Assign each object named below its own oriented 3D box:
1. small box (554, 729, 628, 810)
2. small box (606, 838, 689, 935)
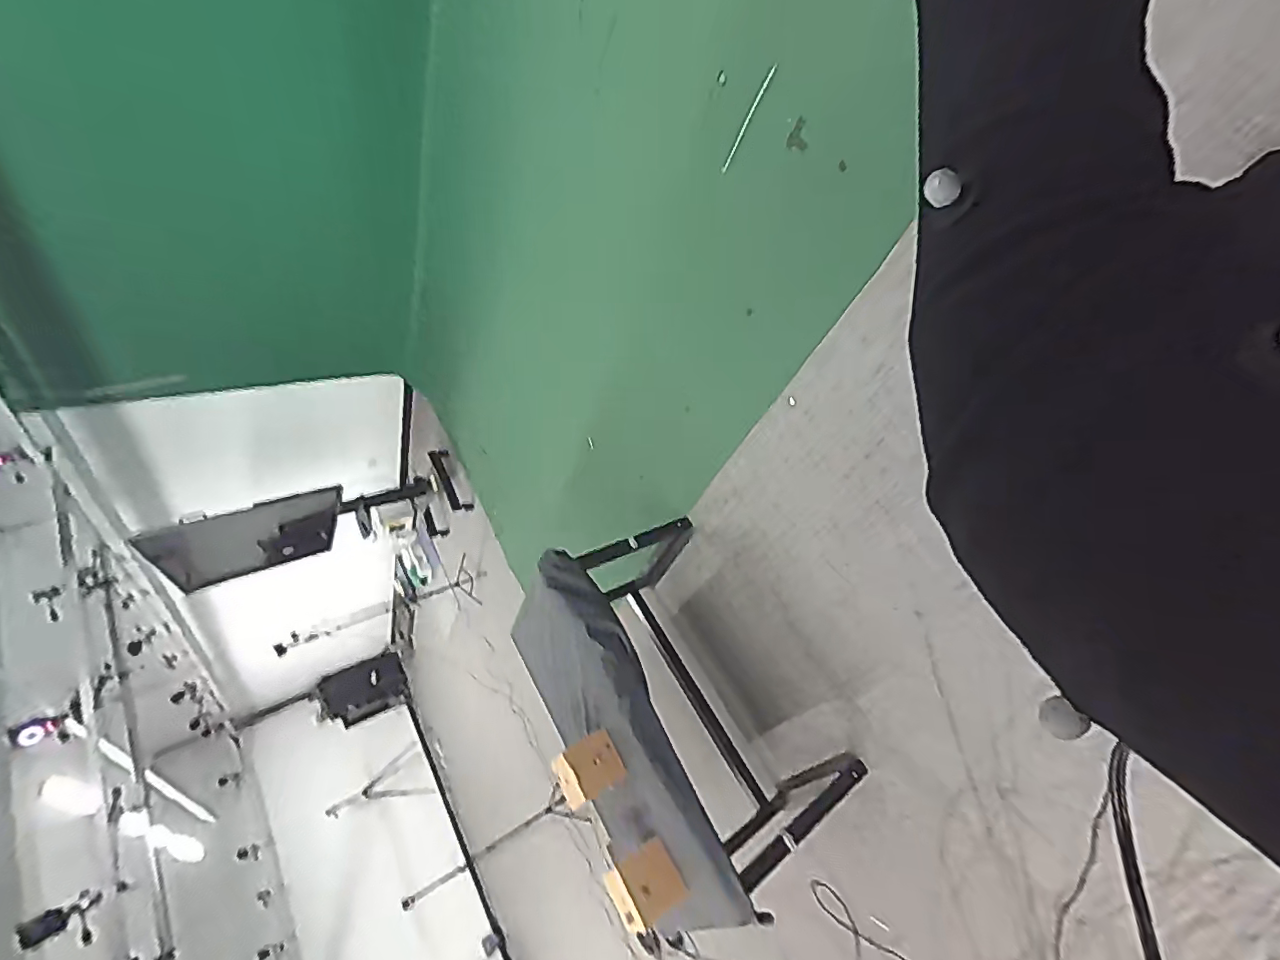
[{"bbox_3d":[-0.161,0.972,1.821,0.168,0.176,0.179,57,141,23],"label":"small box"},{"bbox_3d":[0.025,1.258,1.678,0.179,0.176,0.168,55,140,27],"label":"small box"}]
